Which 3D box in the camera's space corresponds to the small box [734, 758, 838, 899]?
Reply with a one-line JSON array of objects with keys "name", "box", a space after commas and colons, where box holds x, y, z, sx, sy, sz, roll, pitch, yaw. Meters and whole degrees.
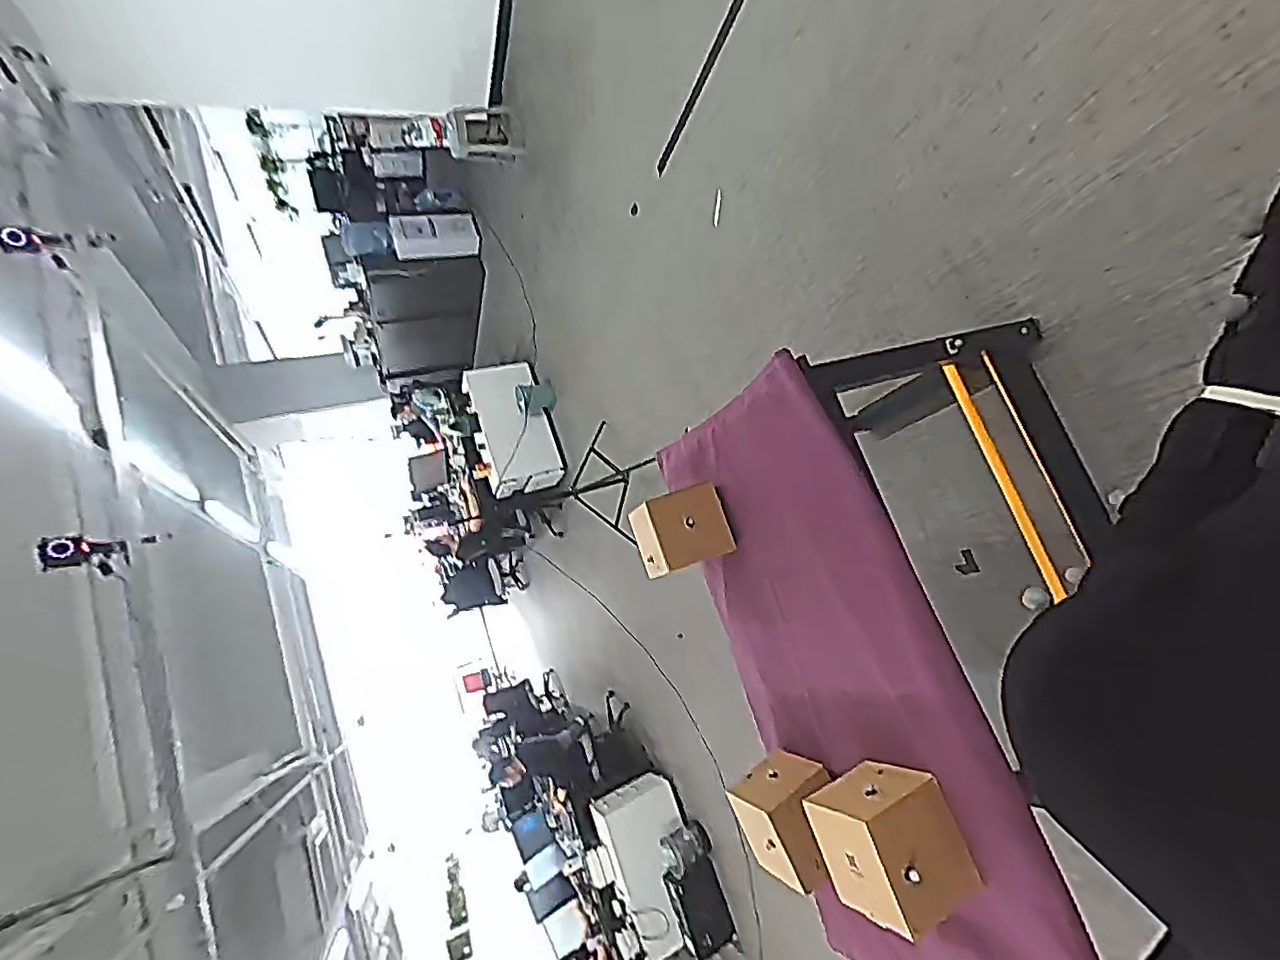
[{"name": "small box", "box": [0.328, 0.718, 1.145, 0.179, 0.168, 0.176, 65, 156, 4]}]

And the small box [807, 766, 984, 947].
[{"name": "small box", "box": [0.424, 0.611, 0.910, 0.179, 0.176, 0.168, 69, 155, 12]}]
